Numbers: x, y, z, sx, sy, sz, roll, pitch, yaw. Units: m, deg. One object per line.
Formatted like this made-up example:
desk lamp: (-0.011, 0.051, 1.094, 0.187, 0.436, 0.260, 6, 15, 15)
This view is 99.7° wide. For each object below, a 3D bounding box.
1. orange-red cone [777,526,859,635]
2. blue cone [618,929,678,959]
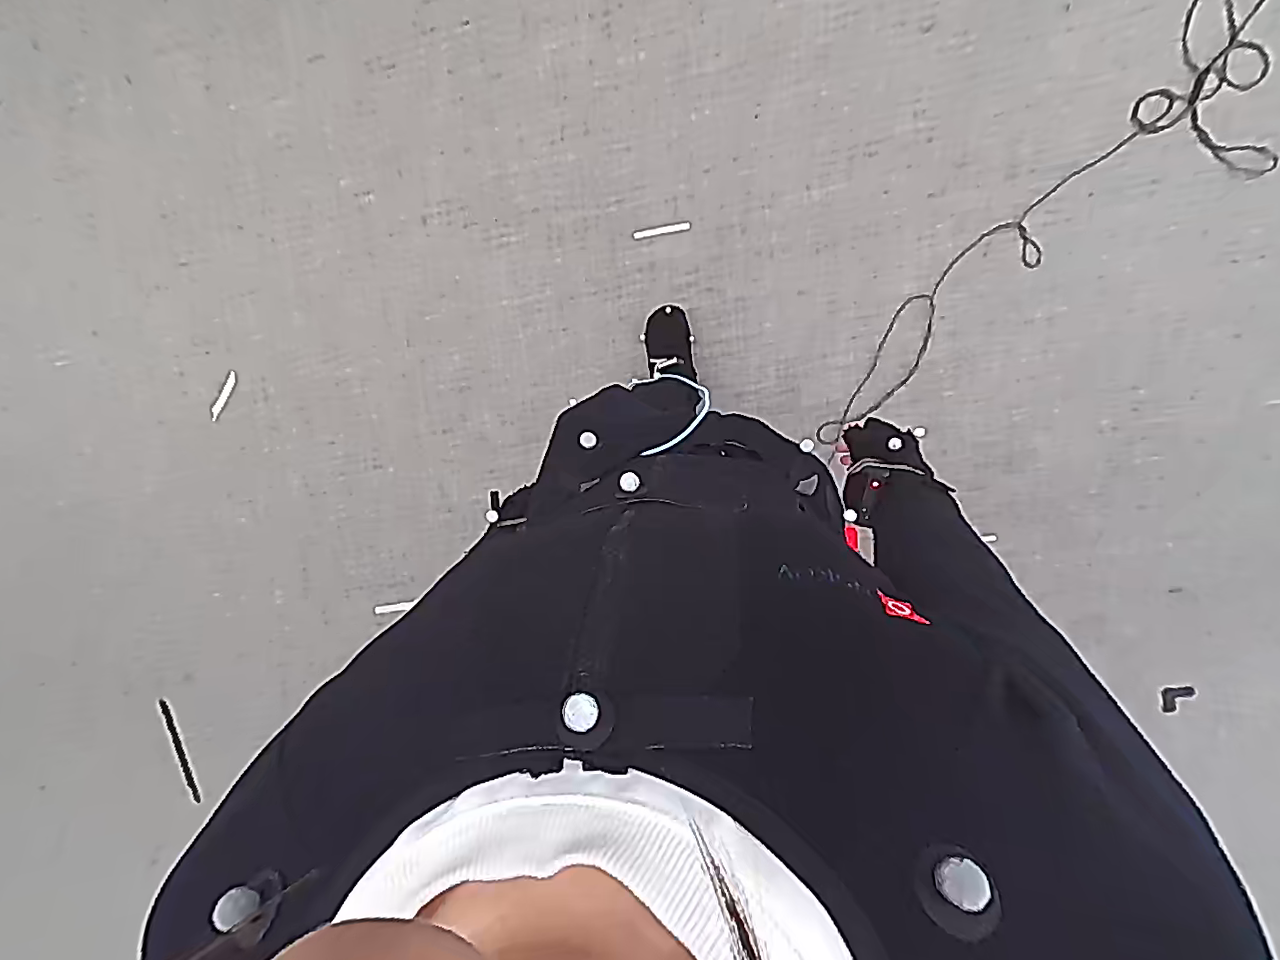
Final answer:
orange-red cone: (0.438, 0.251, 1.236, 0.199, 0.360, 0.198, -3, 102, 7)
blue cone: (0.004, 1.542, 1.558, 0.192, 0.380, 0.193, -3, 100, 9)
